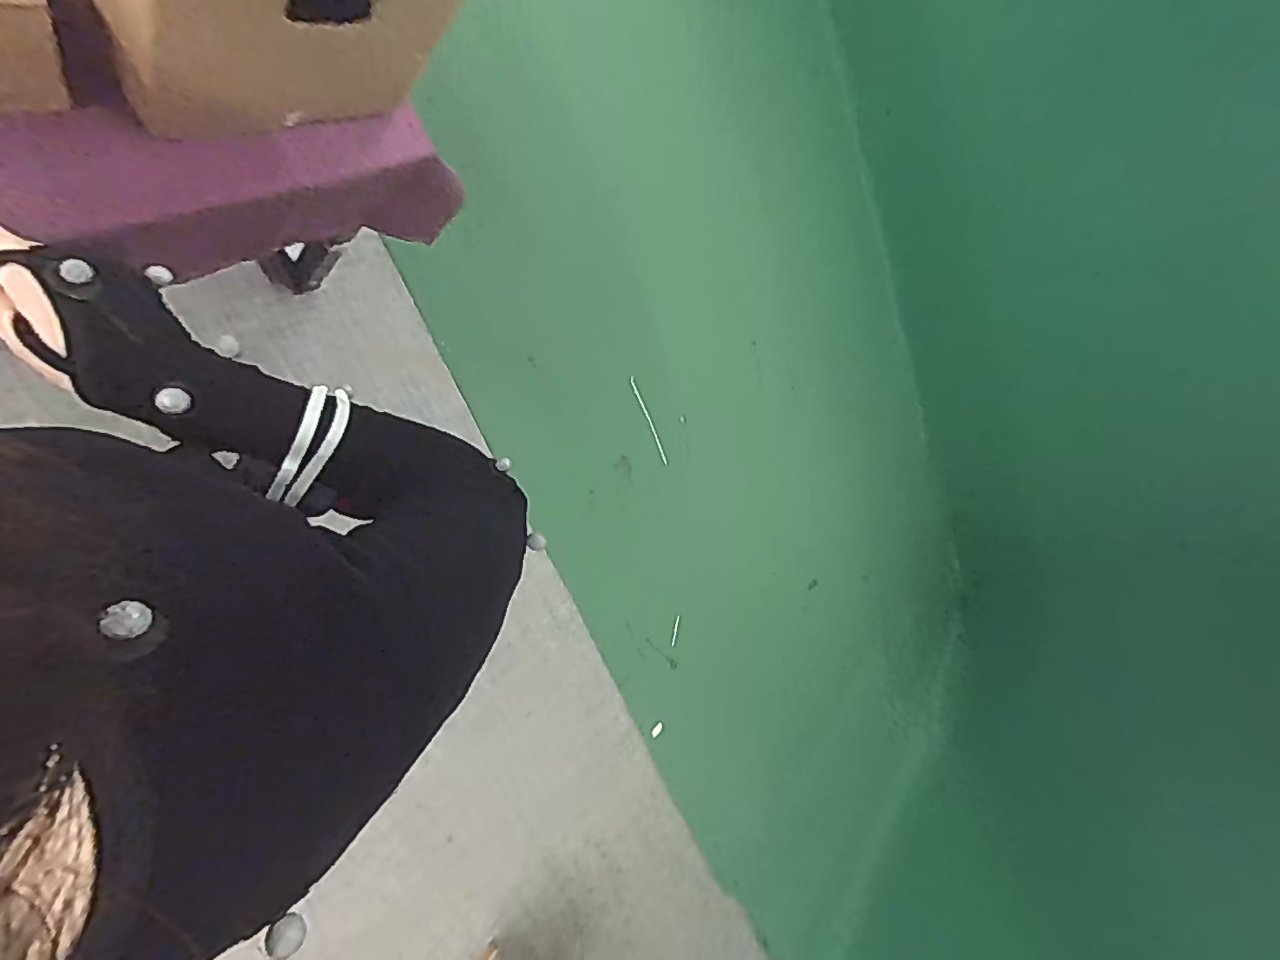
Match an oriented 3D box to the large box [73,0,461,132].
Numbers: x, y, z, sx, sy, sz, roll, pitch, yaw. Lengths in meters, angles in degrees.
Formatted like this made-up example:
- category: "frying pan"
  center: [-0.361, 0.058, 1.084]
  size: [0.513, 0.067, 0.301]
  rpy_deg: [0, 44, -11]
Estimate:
- category: "large box"
  center: [-0.445, -0.653, 0.547]
  size: [0.320, 0.320, 0.408]
  rpy_deg: [-38, 114, -36]
